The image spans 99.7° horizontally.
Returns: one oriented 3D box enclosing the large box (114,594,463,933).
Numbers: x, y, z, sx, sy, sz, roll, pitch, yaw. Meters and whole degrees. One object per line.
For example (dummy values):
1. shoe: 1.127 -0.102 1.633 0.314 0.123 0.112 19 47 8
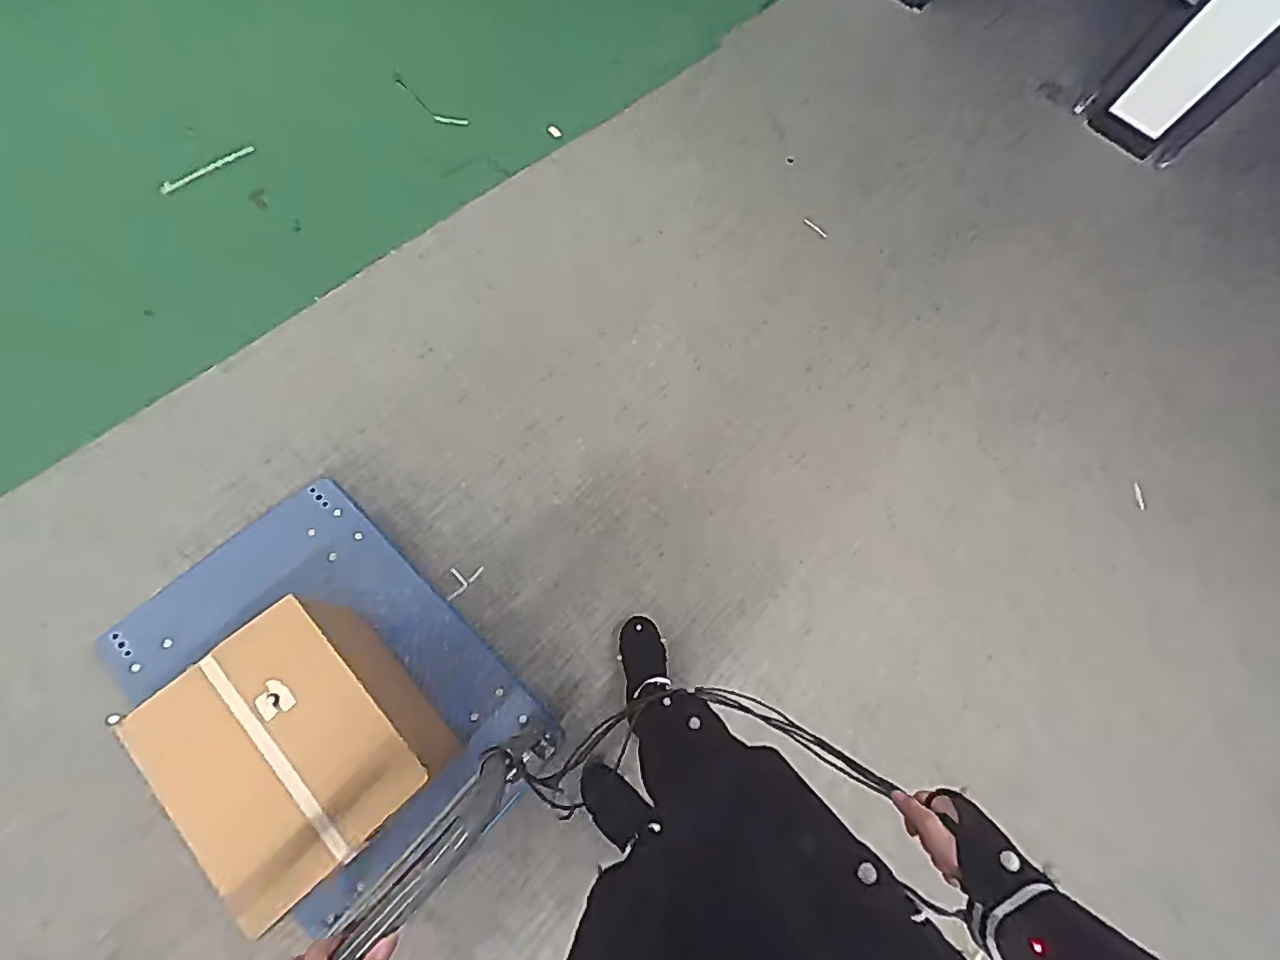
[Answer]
1. large box: -0.600 0.478 0.999 0.320 0.320 0.408 -40 79 -18
